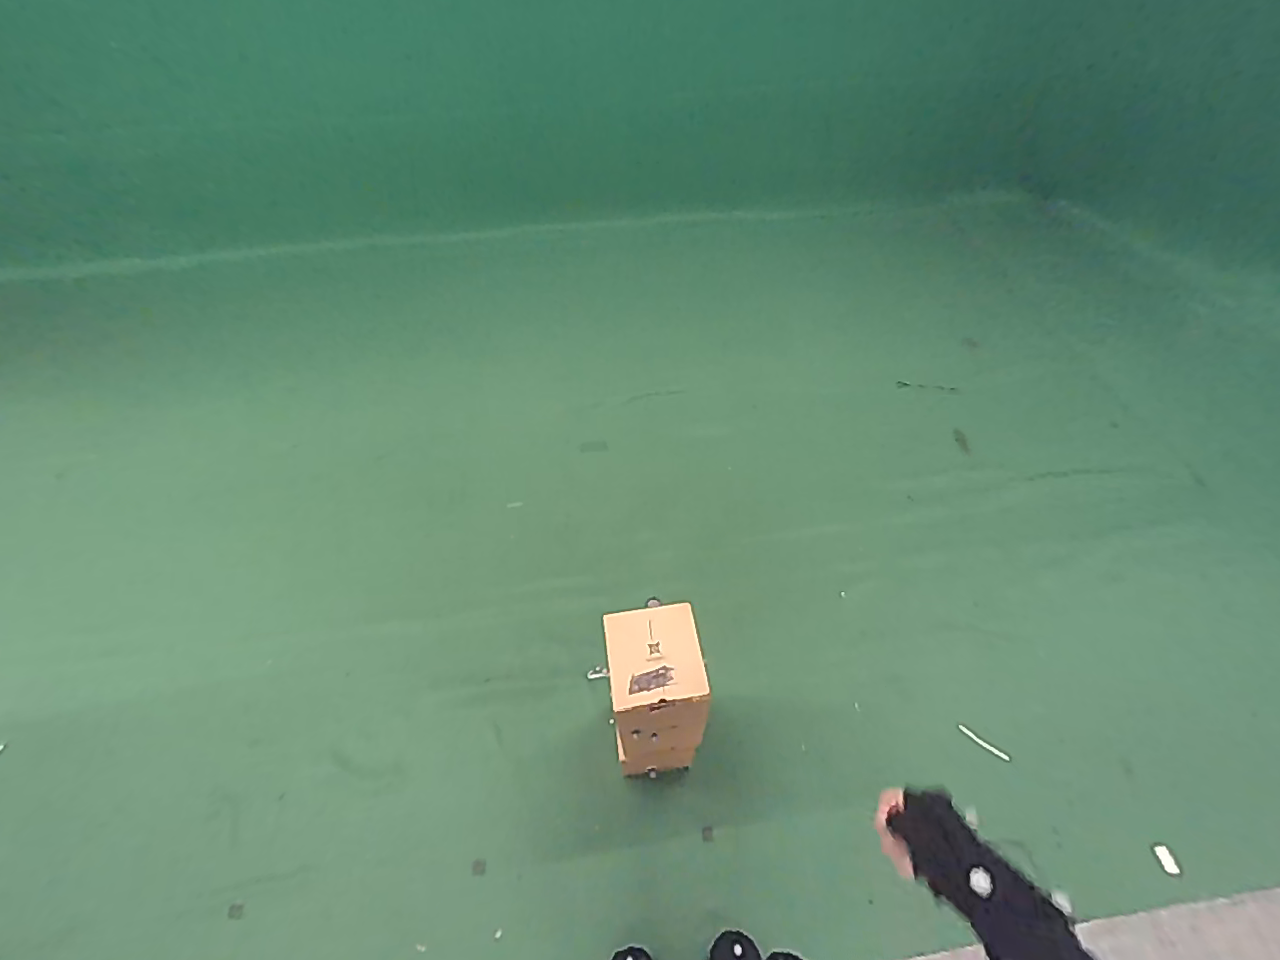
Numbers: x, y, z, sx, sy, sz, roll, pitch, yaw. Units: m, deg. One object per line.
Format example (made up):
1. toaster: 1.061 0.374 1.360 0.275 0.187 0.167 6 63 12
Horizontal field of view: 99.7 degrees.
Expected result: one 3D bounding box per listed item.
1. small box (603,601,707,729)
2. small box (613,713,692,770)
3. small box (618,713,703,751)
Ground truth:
1. small box: 0.025 0.352 1.013 0.168 0.176 0.179 -7 50 -4
2. small box: 0.024 0.552 1.250 0.168 0.176 0.179 -6 51 -1
3. small box: 0.031 0.455 1.142 0.168 0.176 0.179 -7 50 -4
